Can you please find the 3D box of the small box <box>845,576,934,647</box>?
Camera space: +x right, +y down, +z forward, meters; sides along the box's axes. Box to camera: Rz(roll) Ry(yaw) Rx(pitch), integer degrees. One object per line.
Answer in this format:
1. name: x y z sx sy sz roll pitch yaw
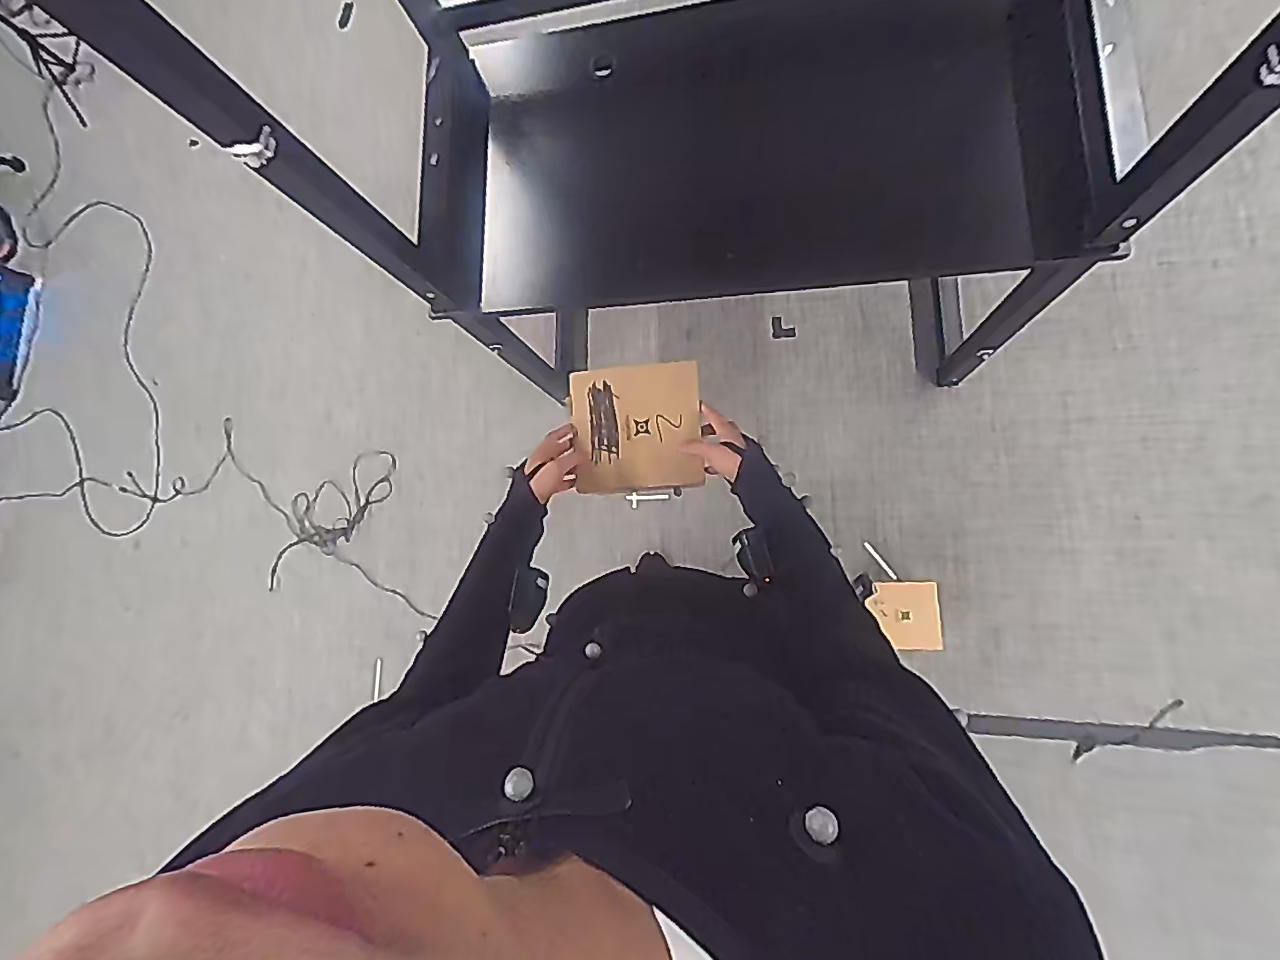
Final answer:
1. small box: 0.652 0.342 1.429 0.179 0.176 0.168 -2 82 12
